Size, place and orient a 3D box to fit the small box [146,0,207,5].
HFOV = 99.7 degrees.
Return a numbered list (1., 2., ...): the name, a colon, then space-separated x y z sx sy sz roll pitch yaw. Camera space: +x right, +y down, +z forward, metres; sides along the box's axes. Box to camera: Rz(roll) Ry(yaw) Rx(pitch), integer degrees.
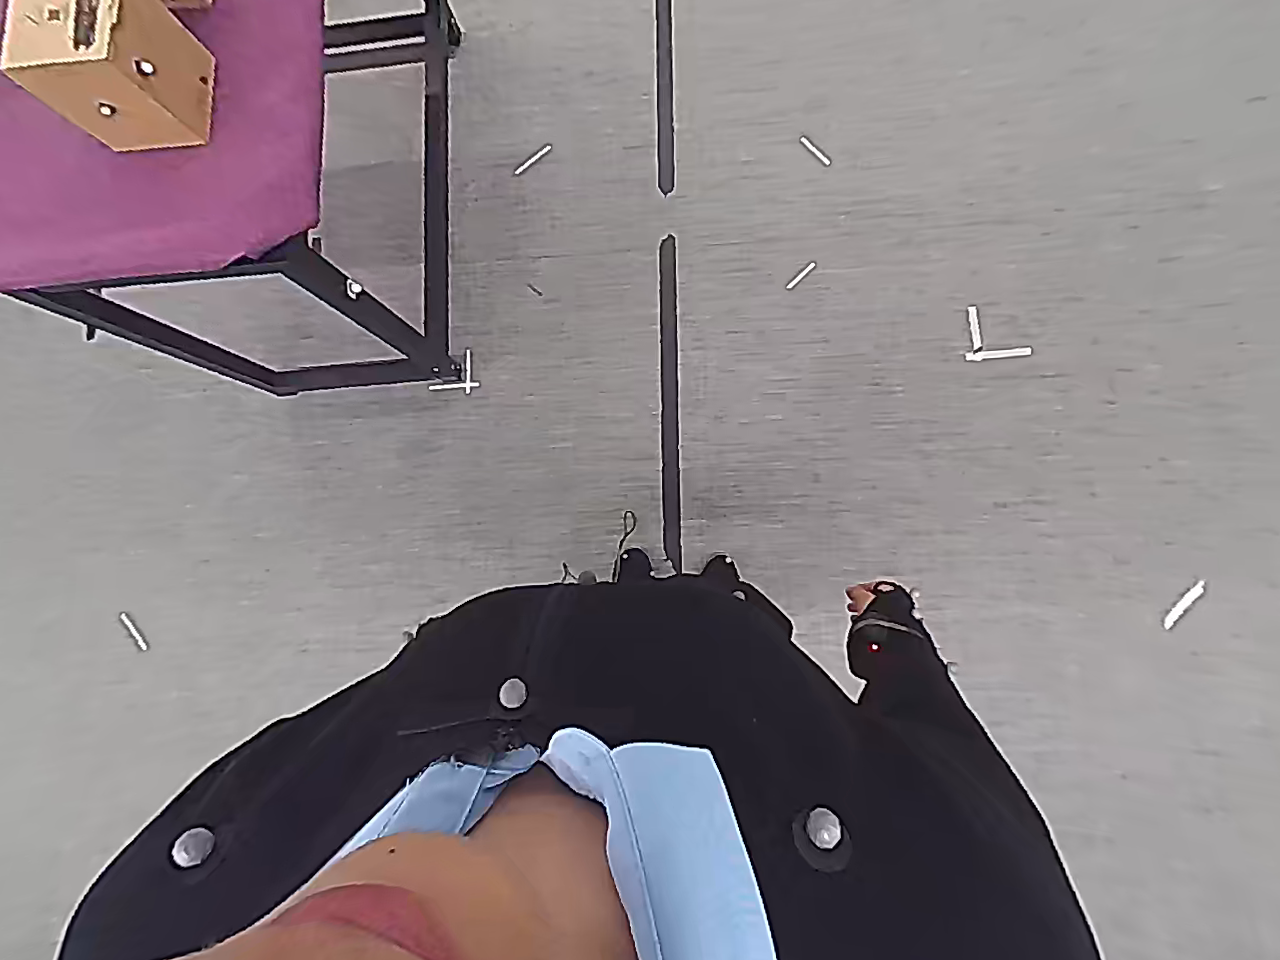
1. small box: -0.838 -0.940 0.896 0.168 0.176 0.179 5 83 5
